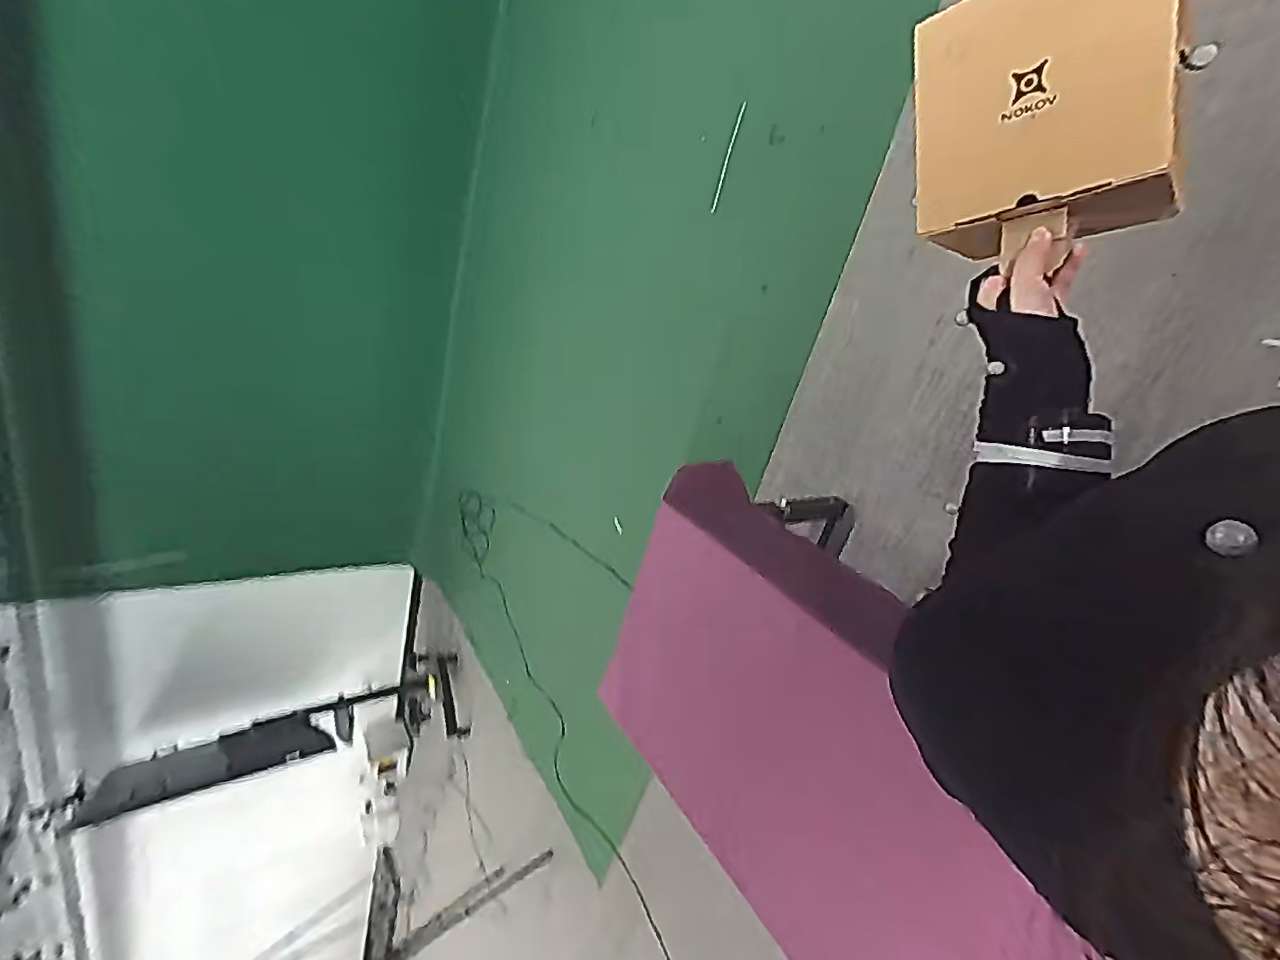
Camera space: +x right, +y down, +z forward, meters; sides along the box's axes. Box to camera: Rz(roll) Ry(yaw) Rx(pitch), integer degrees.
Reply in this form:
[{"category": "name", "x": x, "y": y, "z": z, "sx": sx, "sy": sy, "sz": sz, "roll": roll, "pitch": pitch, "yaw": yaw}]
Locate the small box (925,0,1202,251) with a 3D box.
[{"category": "small box", "x": 0.364, "y": -0.315, "z": 0.468, "sx": 0.168, "sy": 0.176, "sz": 0.179, "roll": 5, "pitch": 103, "yaw": 45}]
